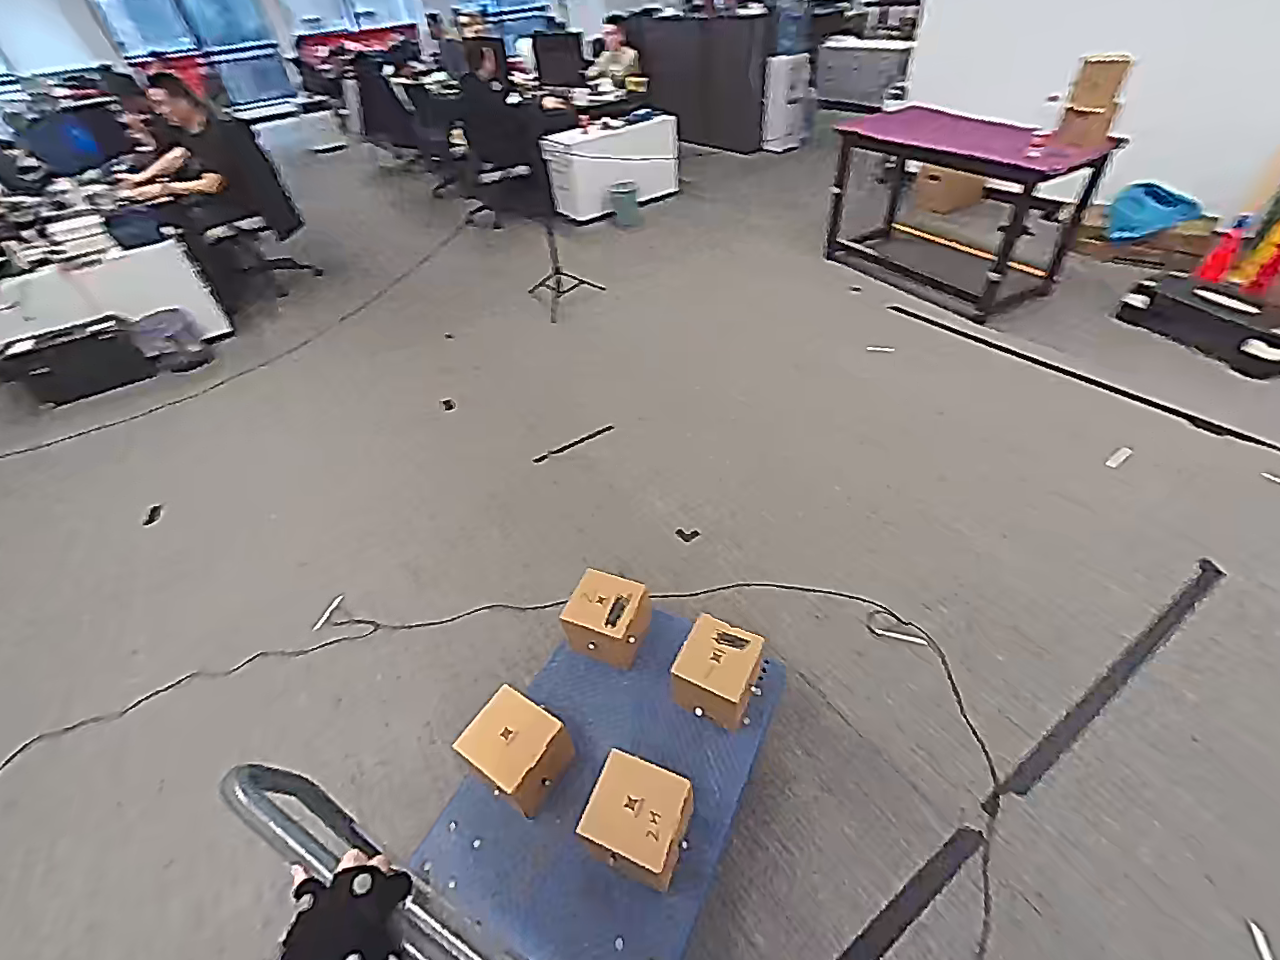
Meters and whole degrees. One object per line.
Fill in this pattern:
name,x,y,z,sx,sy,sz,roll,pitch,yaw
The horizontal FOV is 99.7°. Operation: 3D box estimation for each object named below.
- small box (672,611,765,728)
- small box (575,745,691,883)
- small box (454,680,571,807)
small box,0.187,0.455,1.301,0.168,0.176,0.179,19,50,24
small box,-0.006,0.677,1.092,0.179,0.176,0.168,14,48,20
small box,-0.277,0.593,1.211,0.179,0.176,0.168,23,50,25
